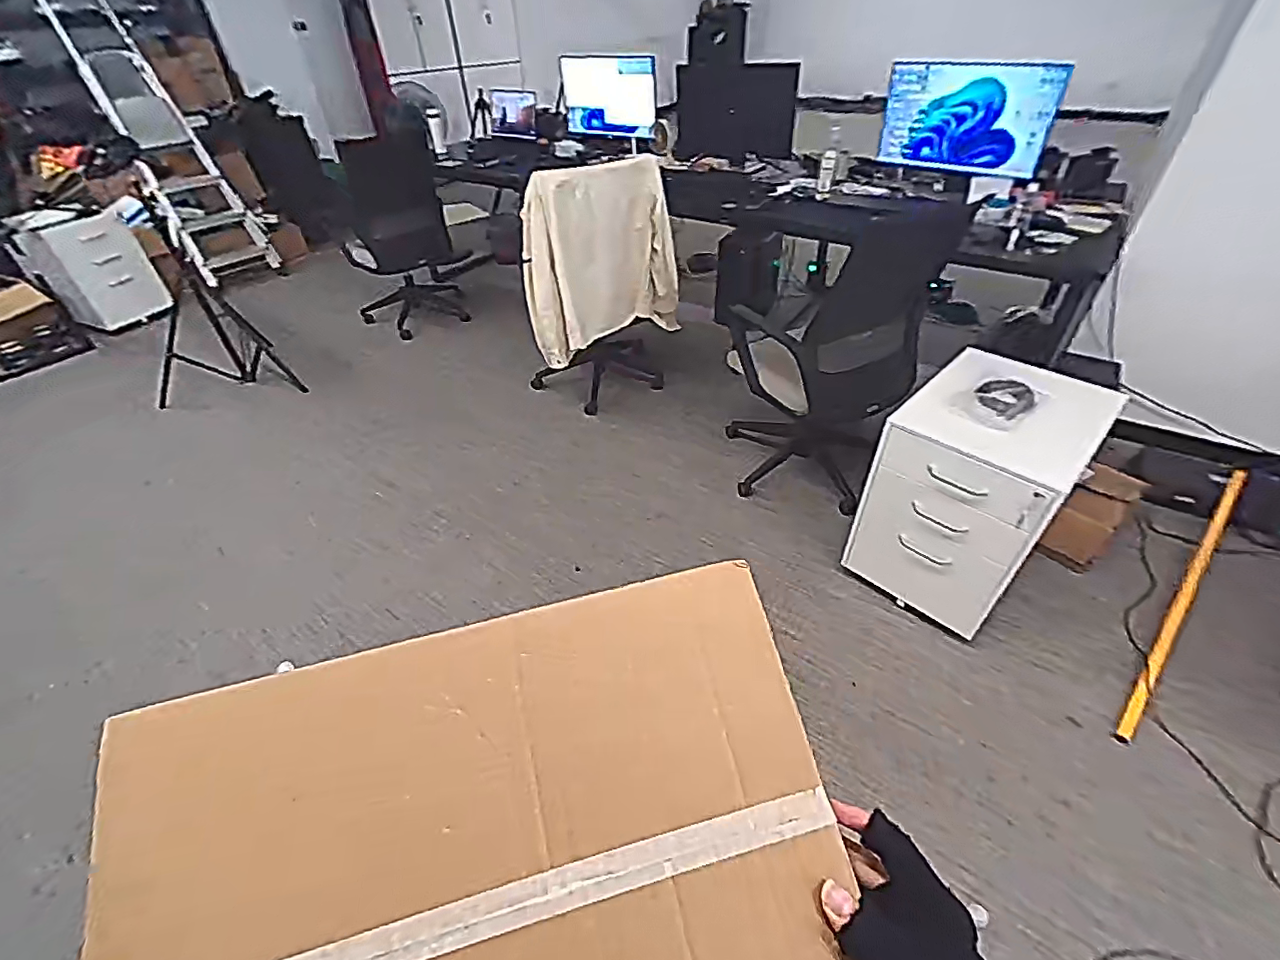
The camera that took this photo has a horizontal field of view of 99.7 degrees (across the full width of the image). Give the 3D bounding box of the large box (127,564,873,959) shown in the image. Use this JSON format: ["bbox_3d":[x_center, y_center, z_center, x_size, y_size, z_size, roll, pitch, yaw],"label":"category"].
[{"bbox_3d":[-0.088,0.299,0.447,0.408,0.320,0.320,-13,70,-8],"label":"large box"}]
